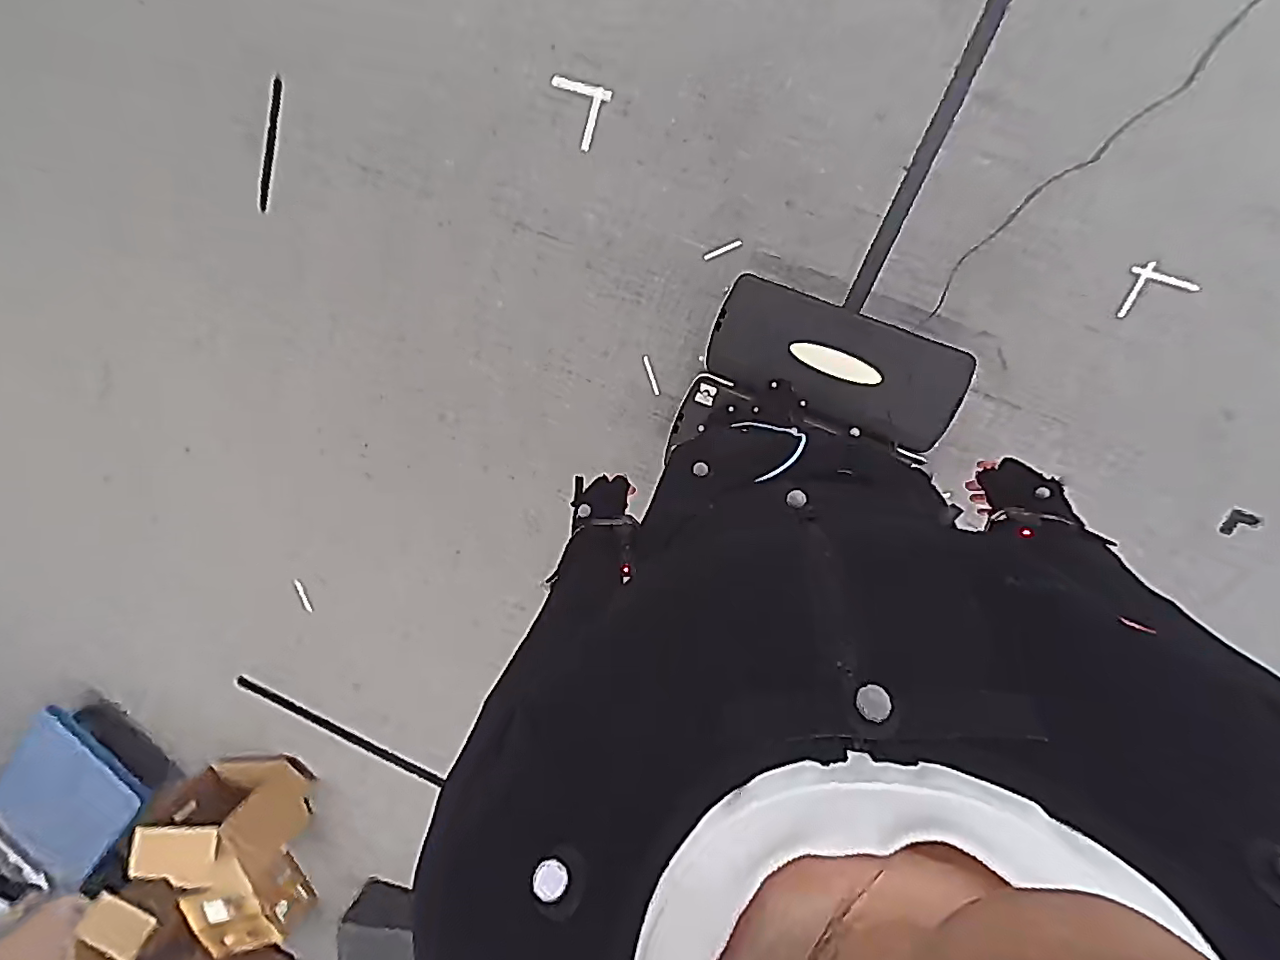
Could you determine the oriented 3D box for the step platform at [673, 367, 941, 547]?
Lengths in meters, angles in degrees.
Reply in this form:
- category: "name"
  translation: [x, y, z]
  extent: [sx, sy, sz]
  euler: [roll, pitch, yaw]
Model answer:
- category: "step platform"
  translation: [0.437, -0.071, 1.489]
  extent: [0.684, 0.204, 0.286]
  euler: [22, 105, 7]
